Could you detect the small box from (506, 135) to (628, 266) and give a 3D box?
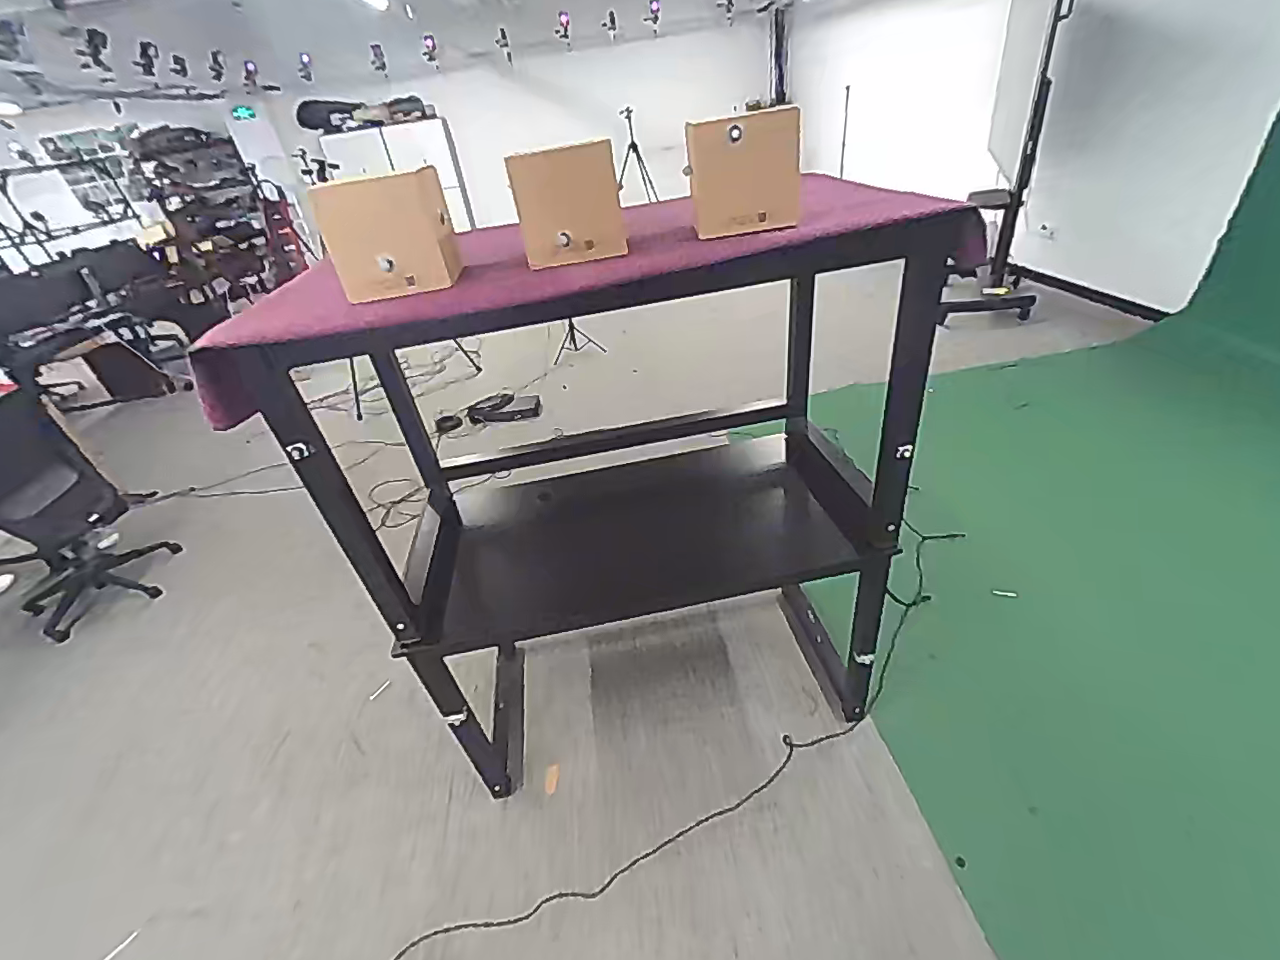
[{"bbox_3d":[-0.116,-0.473,0.916,0.168,0.176,0.179,-10,35,0],"label":"small box"}]

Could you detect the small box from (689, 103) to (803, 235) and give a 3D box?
[{"bbox_3d":[0.174,-0.525,0.921,0.168,0.176,0.179,-7,33,5],"label":"small box"}]

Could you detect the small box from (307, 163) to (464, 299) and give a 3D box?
[{"bbox_3d":[-0.399,-0.410,0.887,0.168,0.176,0.179,-11,35,-3],"label":"small box"}]
